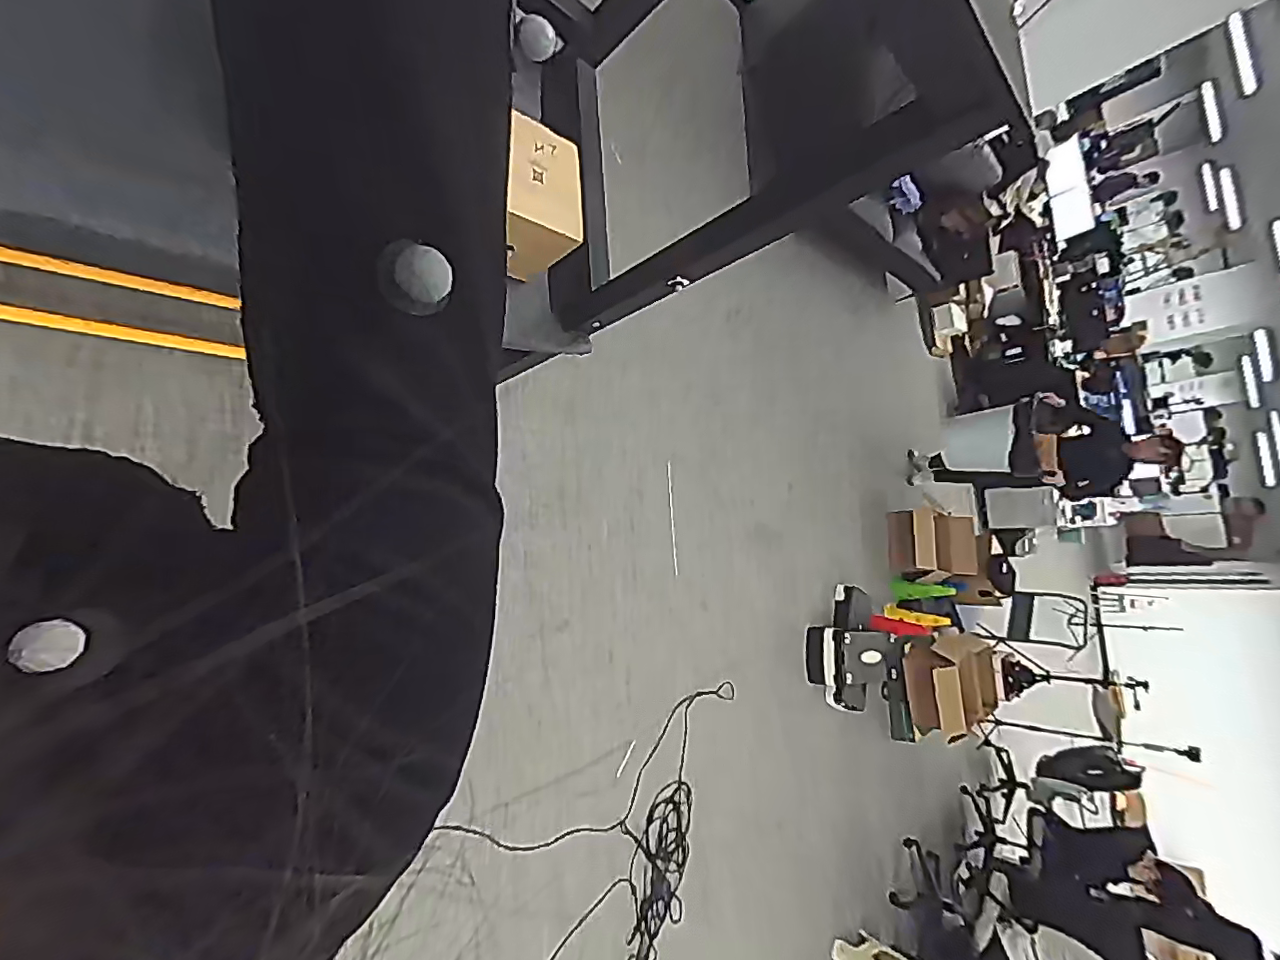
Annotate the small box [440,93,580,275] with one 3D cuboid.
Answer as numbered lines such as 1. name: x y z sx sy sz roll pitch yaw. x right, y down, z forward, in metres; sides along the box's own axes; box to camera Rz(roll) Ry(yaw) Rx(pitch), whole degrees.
1. small box: -0.216 -0.467 0.891 0.168 0.176 0.179 3 80 -45
